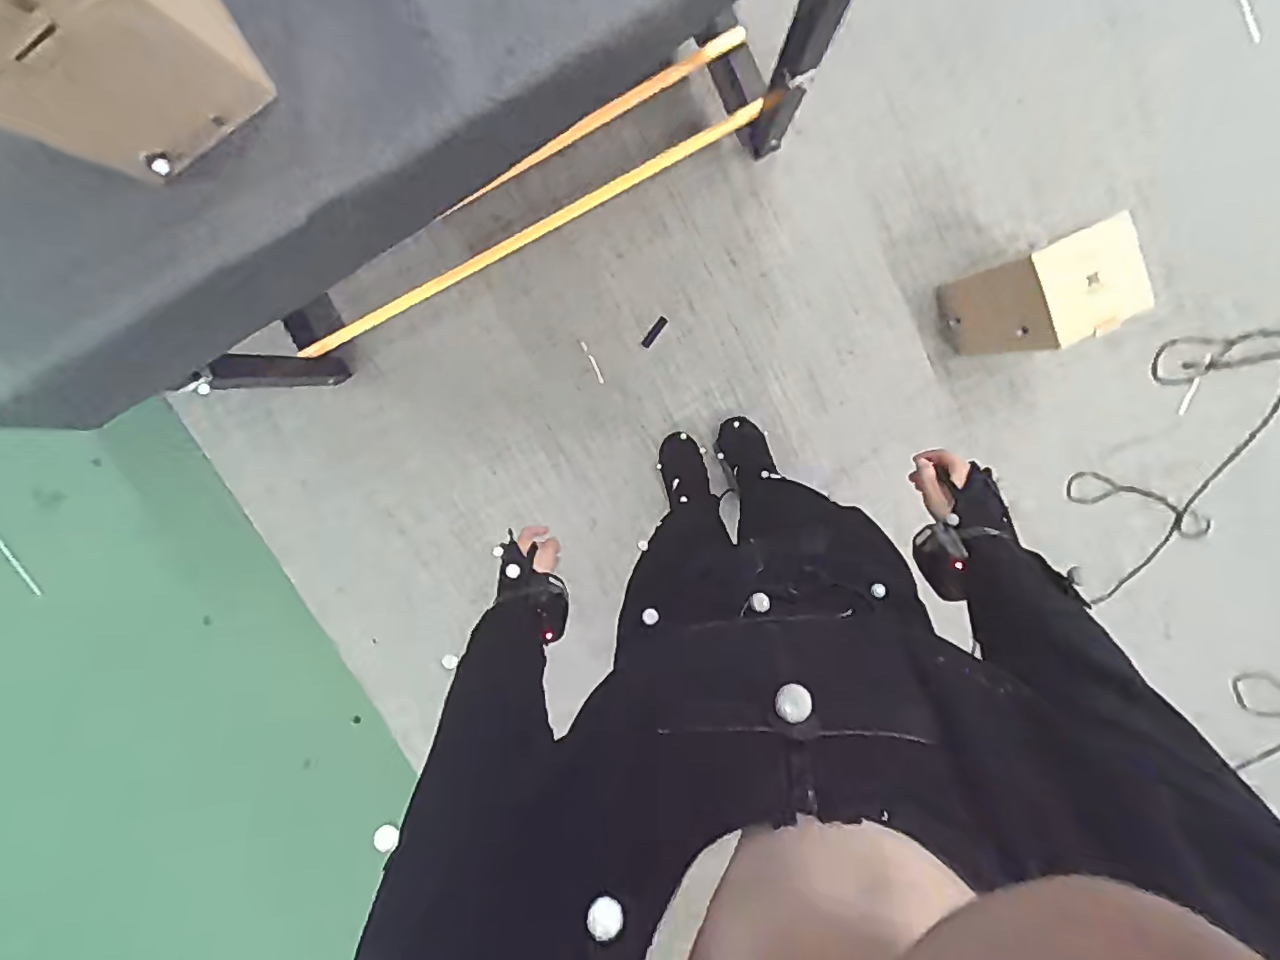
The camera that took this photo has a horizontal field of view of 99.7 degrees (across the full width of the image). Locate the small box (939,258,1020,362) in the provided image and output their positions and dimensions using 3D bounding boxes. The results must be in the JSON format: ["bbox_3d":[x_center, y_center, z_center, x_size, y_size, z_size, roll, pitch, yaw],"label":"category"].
[{"bbox_3d":[0.779,-0.366,1.154,0.168,0.176,0.179,-23,100,6],"label":"small box"}]

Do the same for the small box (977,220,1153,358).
[{"bbox_3d":[0.767,-0.337,0.994,0.168,0.176,0.179,-25,97,6],"label":"small box"}]

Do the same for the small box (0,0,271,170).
[{"bbox_3d":[-0.476,-0.403,0.465,0.168,0.176,0.179,-30,97,7],"label":"small box"}]
